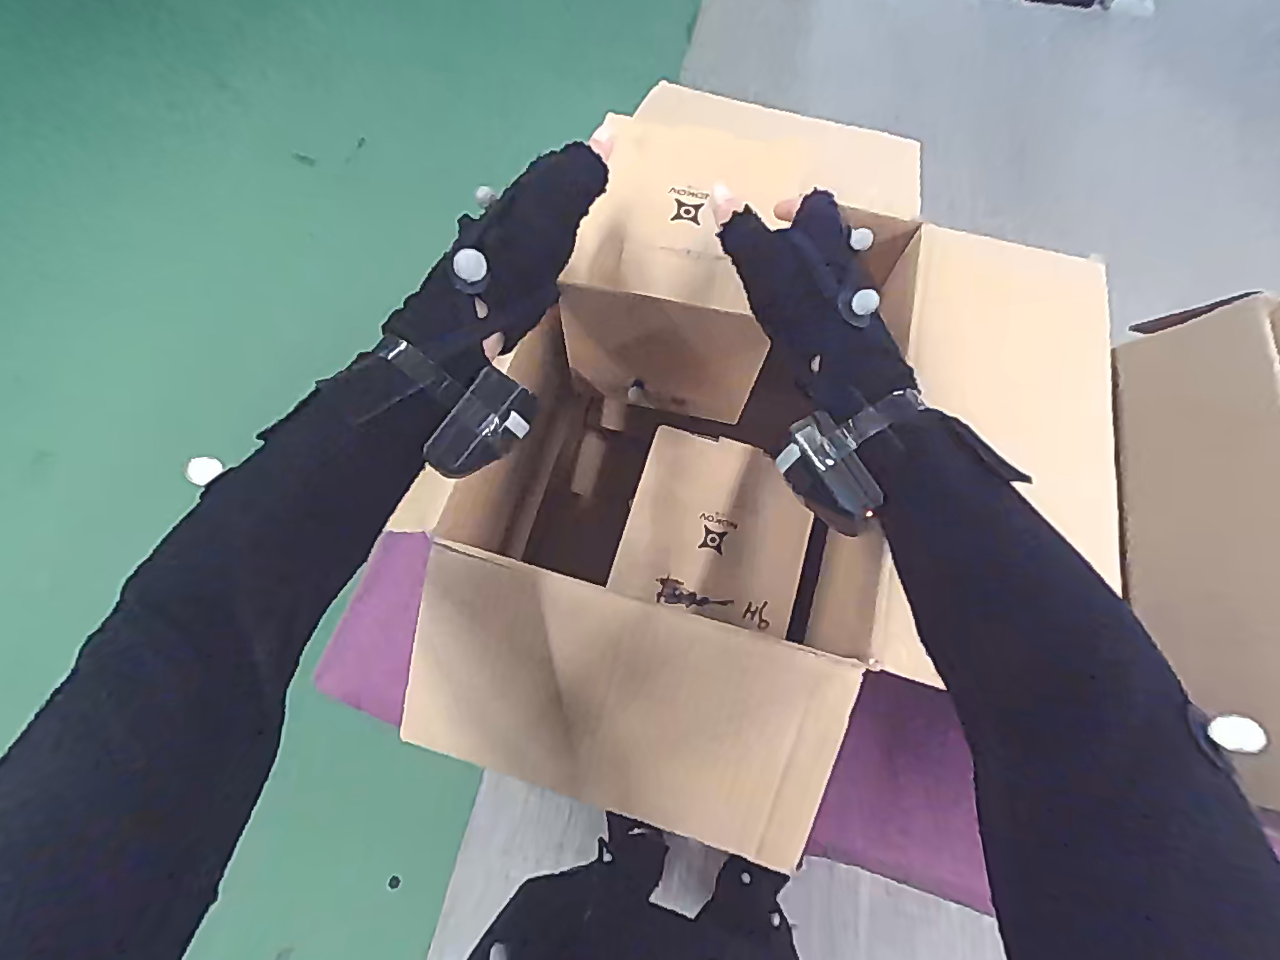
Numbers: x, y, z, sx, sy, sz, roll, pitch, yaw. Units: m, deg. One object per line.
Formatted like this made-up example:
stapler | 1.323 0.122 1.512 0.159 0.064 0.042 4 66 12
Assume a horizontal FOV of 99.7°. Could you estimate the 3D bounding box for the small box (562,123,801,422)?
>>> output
small box | 0.035 -0.178 0.497 0.168 0.176 0.179 11 70 3
